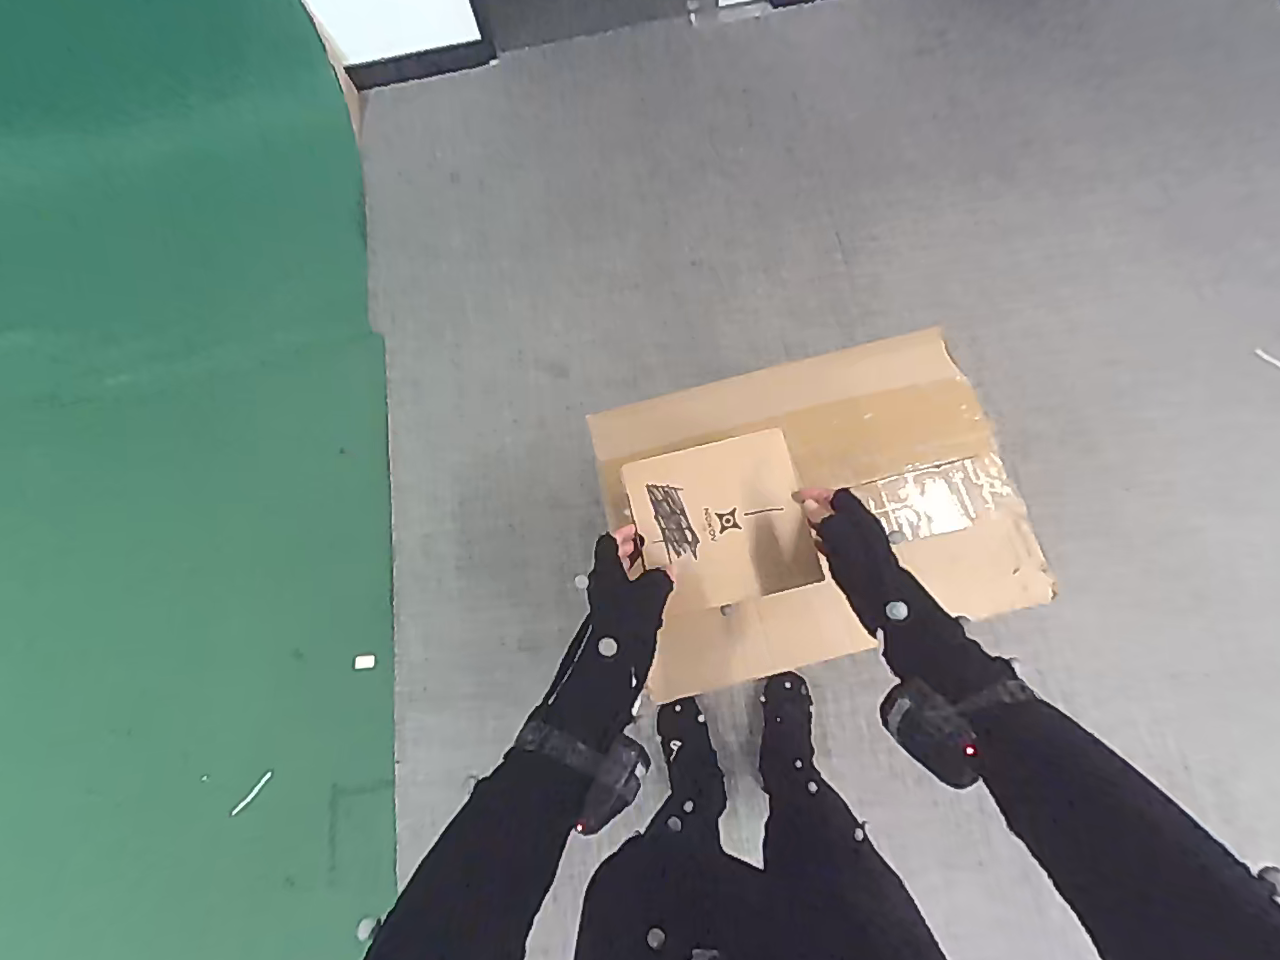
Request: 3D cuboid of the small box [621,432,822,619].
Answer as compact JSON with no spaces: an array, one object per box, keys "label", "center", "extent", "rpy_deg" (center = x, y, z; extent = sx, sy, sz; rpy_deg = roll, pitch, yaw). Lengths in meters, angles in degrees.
[{"label":"small box","center":[0.085,0.060,0.632],"extent":[0.179,0.176,0.168],"rpy_deg":[-13,79,0]}]
